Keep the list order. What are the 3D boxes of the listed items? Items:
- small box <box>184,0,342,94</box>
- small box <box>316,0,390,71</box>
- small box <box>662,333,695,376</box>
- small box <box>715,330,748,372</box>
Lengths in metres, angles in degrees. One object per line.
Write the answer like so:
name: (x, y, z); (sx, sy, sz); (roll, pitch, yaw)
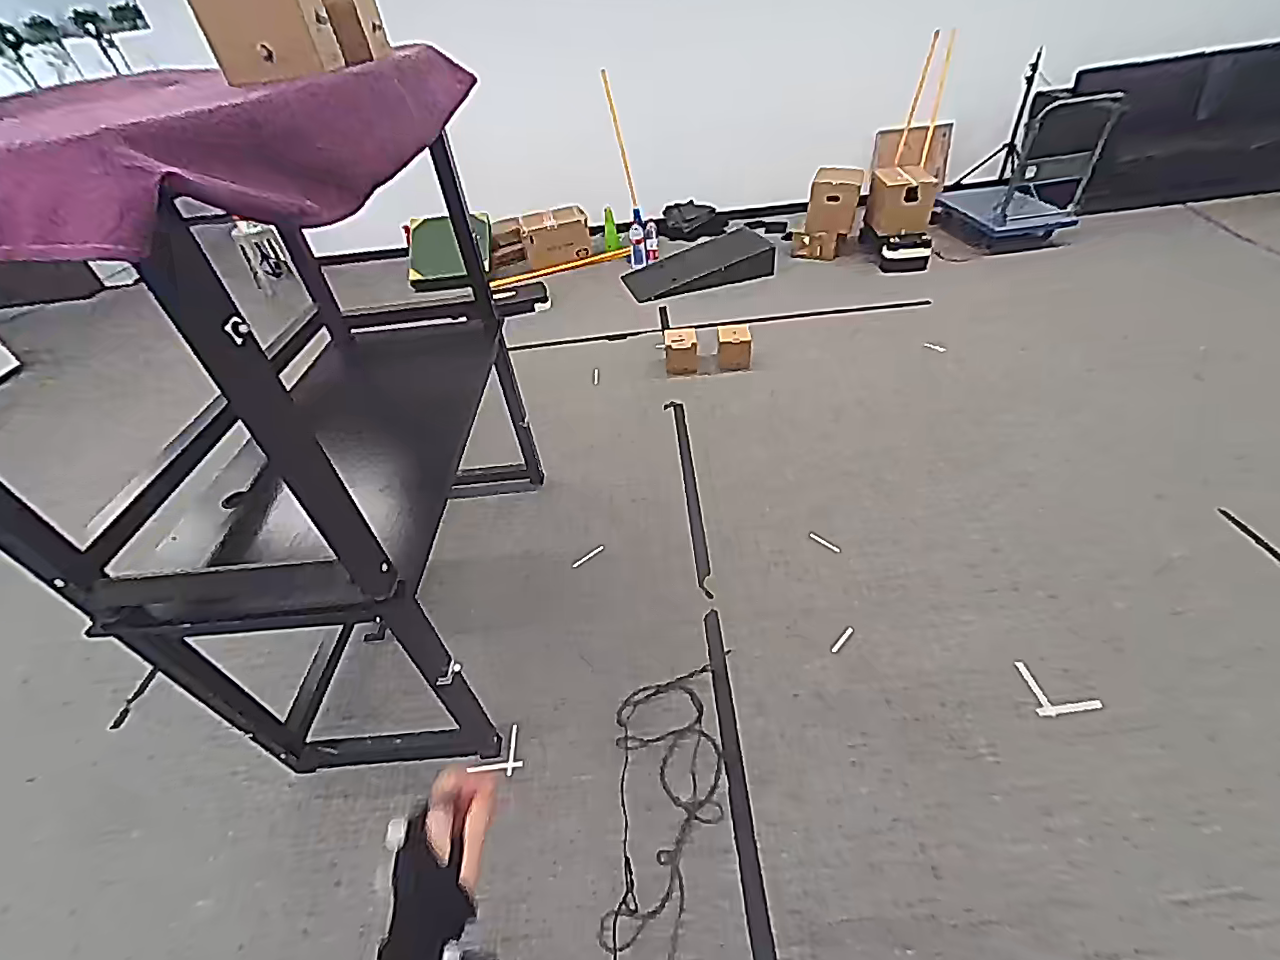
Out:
small box: (-0.679, -0.824, 0.986); (0.179, 0.176, 0.168); (-11, 41, -5)
small box: (-0.695, -1.022, 1.210); (0.179, 0.176, 0.168); (-8, 42, 0)
small box: (0.206, -0.669, 2.906); (0.168, 0.176, 0.179); (-4, 41, 2)
small box: (0.488, -0.686, 2.894); (0.168, 0.176, 0.179); (-1, 41, 5)
